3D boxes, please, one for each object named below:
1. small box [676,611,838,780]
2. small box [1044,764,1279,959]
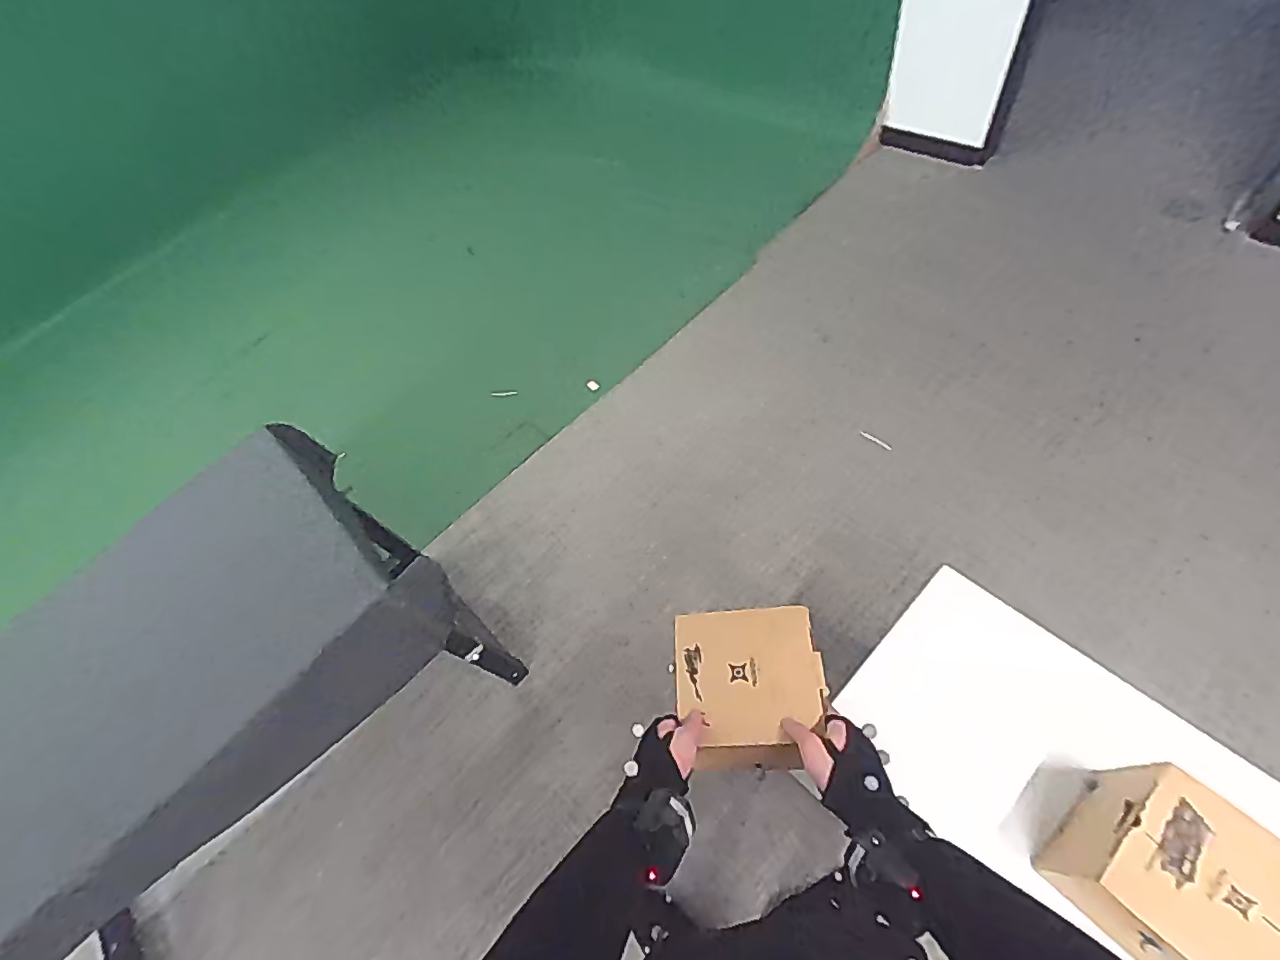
[{"bbox_3d":[0.144,0.286,0.709,0.179,0.176,0.168,-6,51,7],"label":"small box"},{"bbox_3d":[0.612,0.459,0.609,0.168,0.176,0.179,-42,61,-16],"label":"small box"}]
